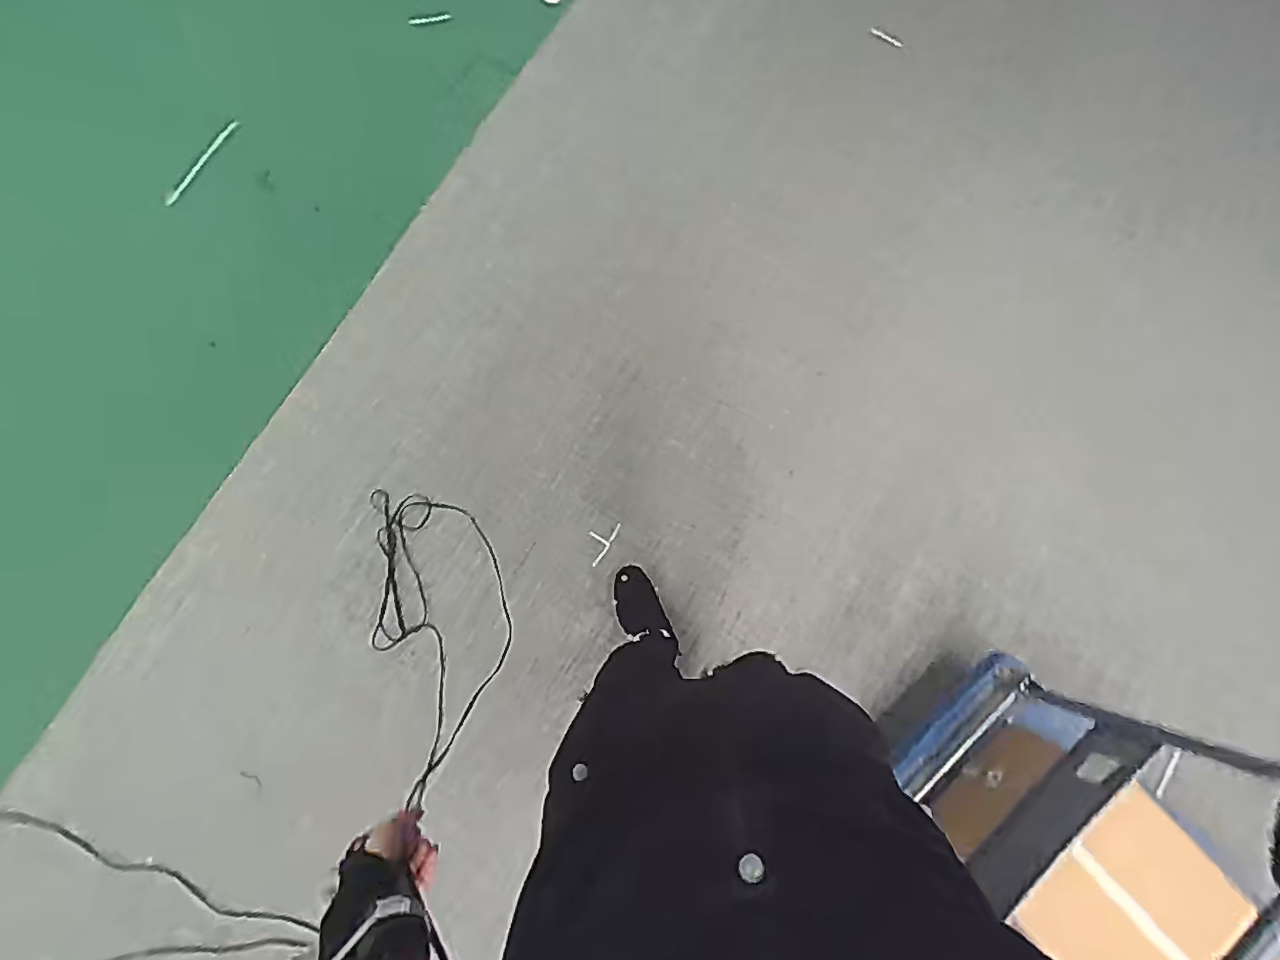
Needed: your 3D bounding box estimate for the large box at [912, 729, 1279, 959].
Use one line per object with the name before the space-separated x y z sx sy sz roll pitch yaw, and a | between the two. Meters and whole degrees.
large box | 0.844 0.784 1.053 0.320 0.320 0.408 -41 84 -5
